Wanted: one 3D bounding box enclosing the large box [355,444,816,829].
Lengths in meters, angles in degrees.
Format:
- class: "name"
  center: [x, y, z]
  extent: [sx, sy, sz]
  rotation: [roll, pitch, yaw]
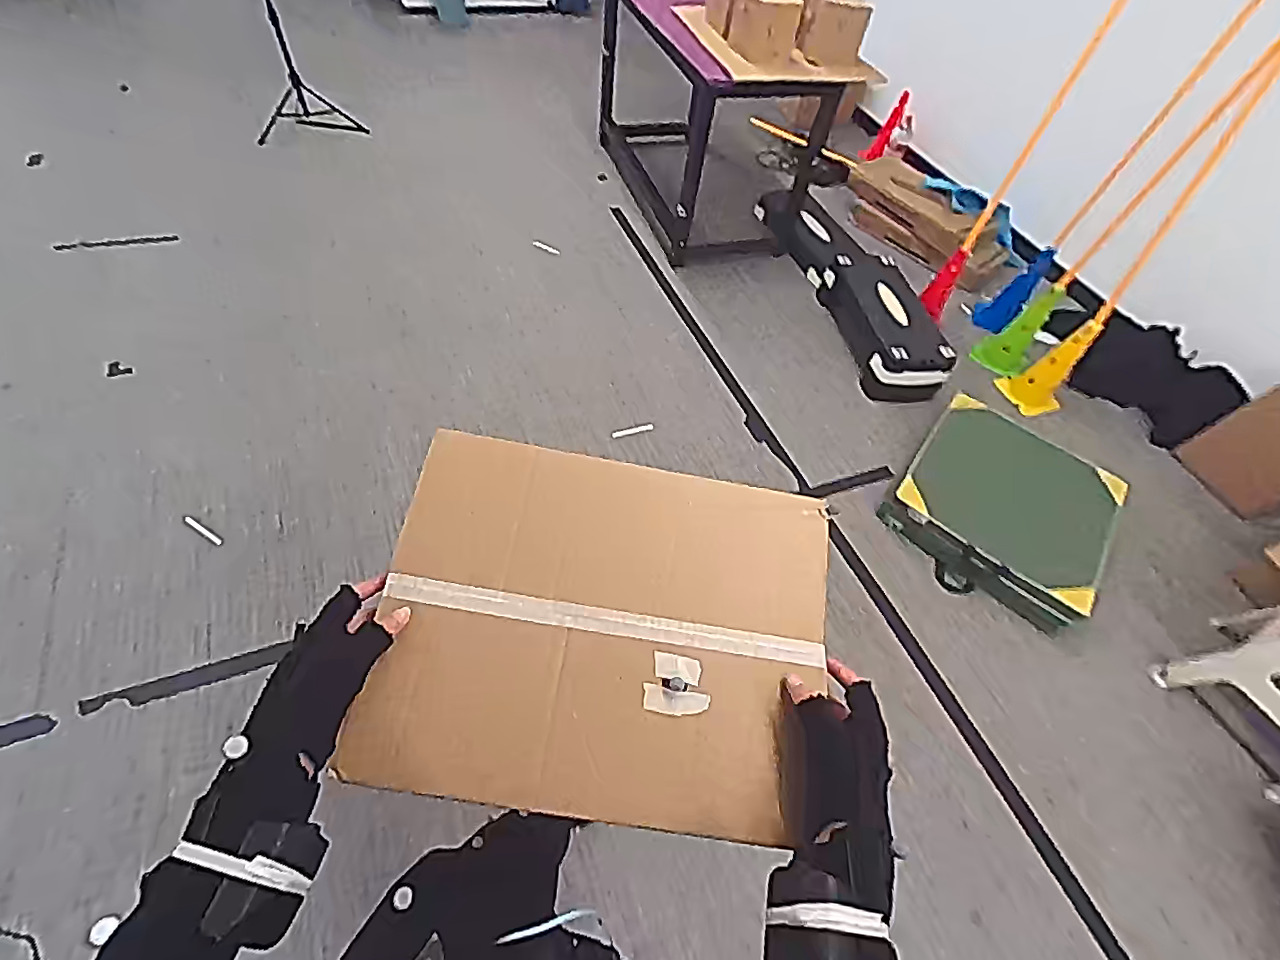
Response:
- class: "large box"
  center: [-0.045, 0.186, 0.654]
  extent: [0.408, 0.320, 0.320]
  rotation: [11, 69, -3]
